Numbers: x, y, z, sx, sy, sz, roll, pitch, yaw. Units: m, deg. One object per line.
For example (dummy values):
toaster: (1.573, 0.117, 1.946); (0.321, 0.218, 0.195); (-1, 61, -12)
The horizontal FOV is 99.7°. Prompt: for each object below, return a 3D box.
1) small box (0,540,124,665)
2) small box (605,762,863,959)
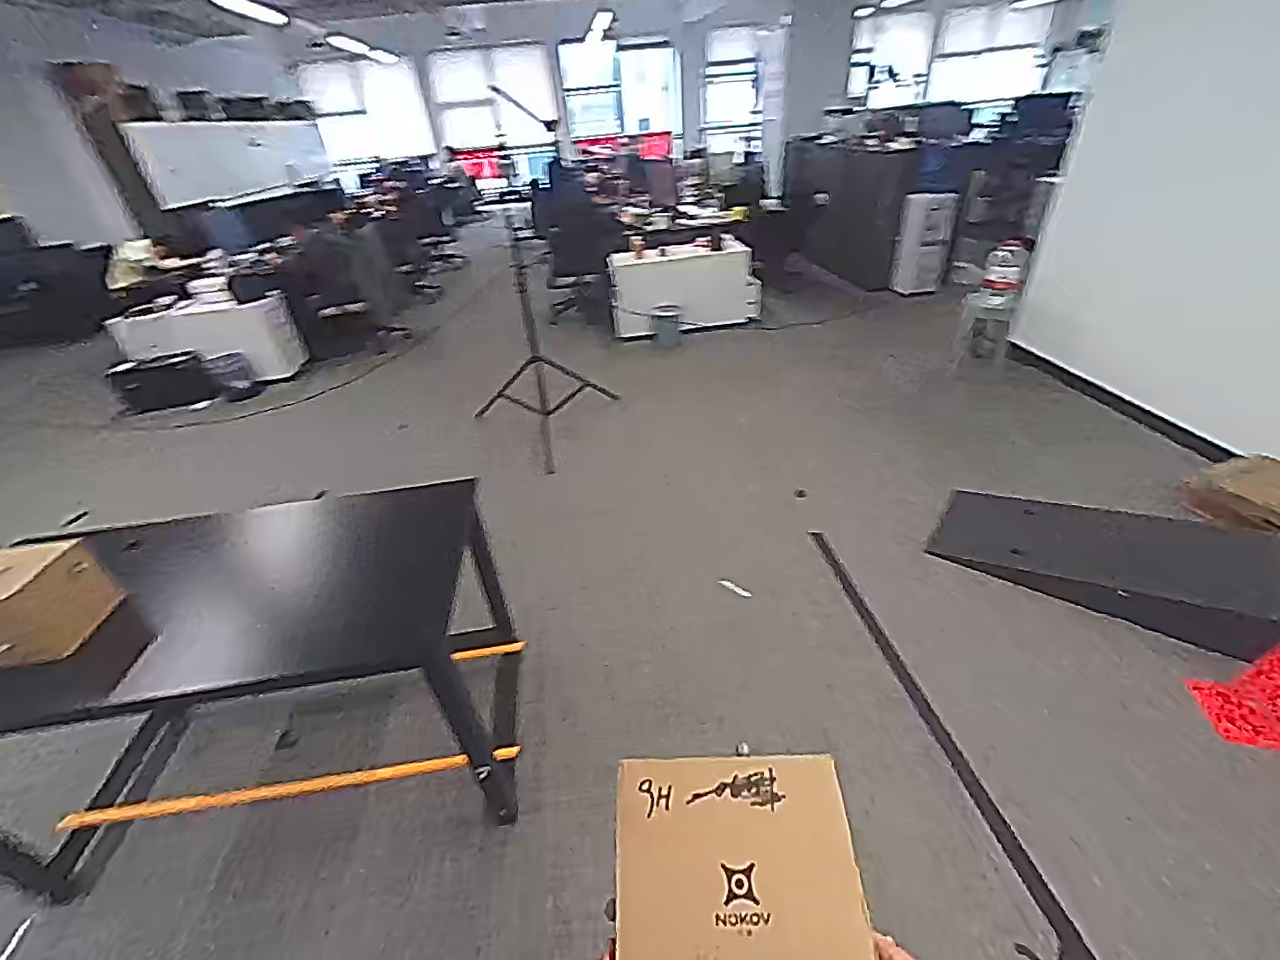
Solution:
small box: (-1.230, 0.250, 1.110); (0.168, 0.176, 0.179); (-7, 34, -2)
small box: (0.062, 0.333, 0.419); (0.168, 0.176, 0.179); (-2, 51, 0)
